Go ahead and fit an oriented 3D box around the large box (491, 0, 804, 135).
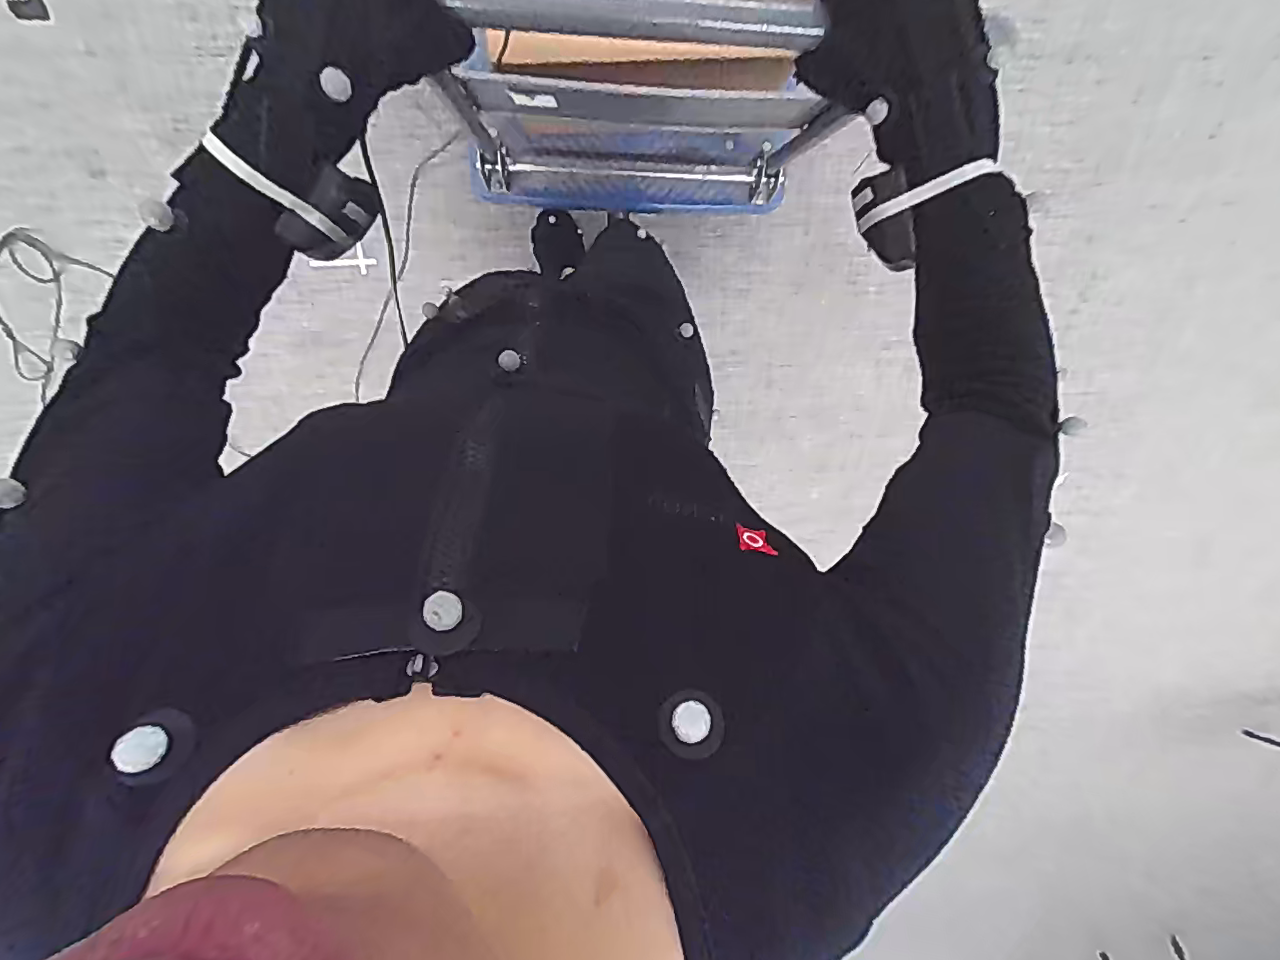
[{"bbox_3d":[-0.007,-0.729,0.788,0.408,0.320,0.320,-4,110,-4],"label":"large box"}]
